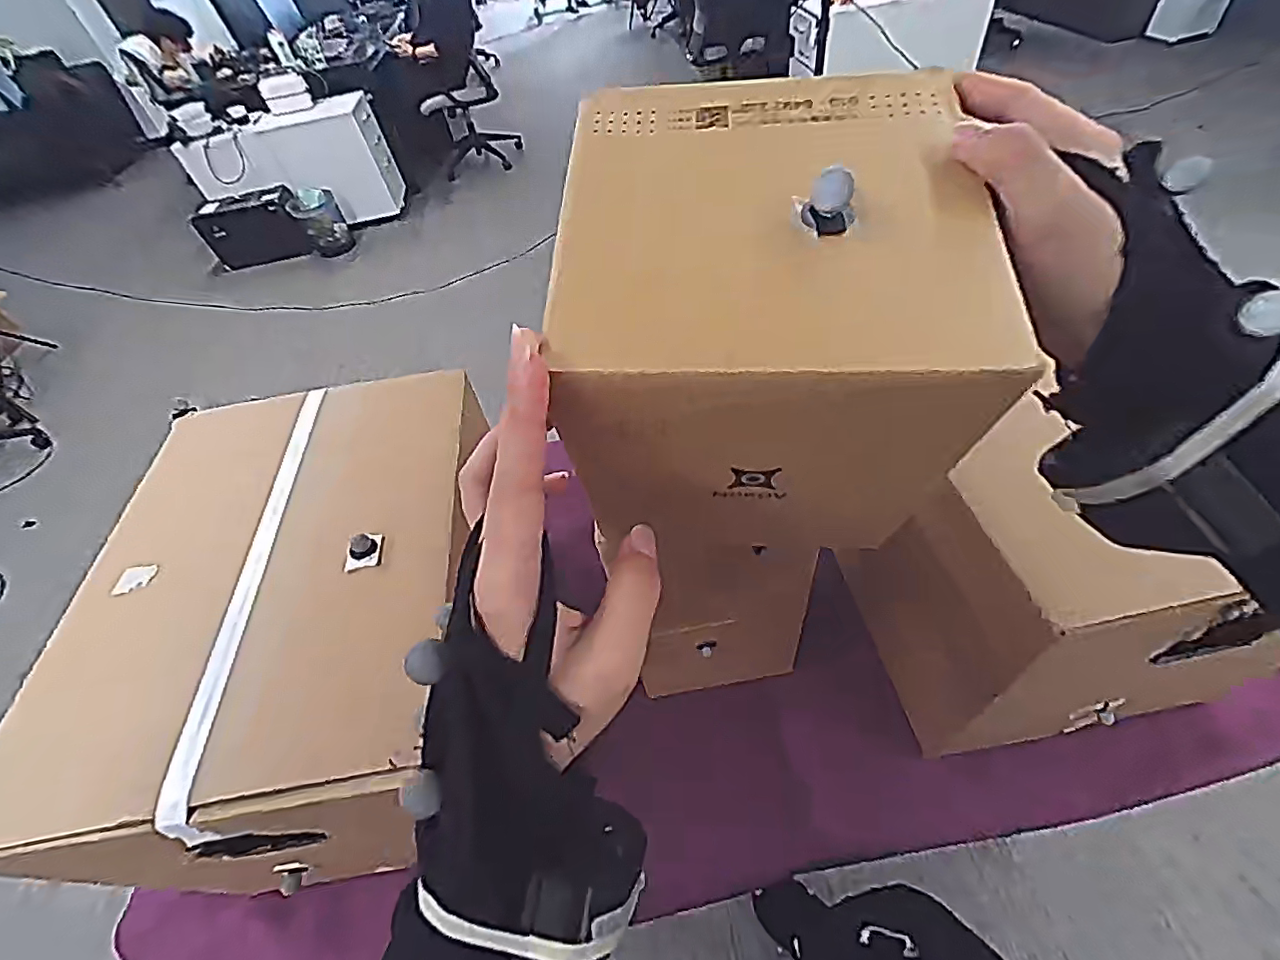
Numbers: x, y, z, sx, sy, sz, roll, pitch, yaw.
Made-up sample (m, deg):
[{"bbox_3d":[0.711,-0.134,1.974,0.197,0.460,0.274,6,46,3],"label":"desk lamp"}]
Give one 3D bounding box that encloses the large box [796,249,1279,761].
[{"bbox_3d":[0.391,0.017,0.576,0.320,0.320,0.408,-11,48,-1],"label":"large box"}]
